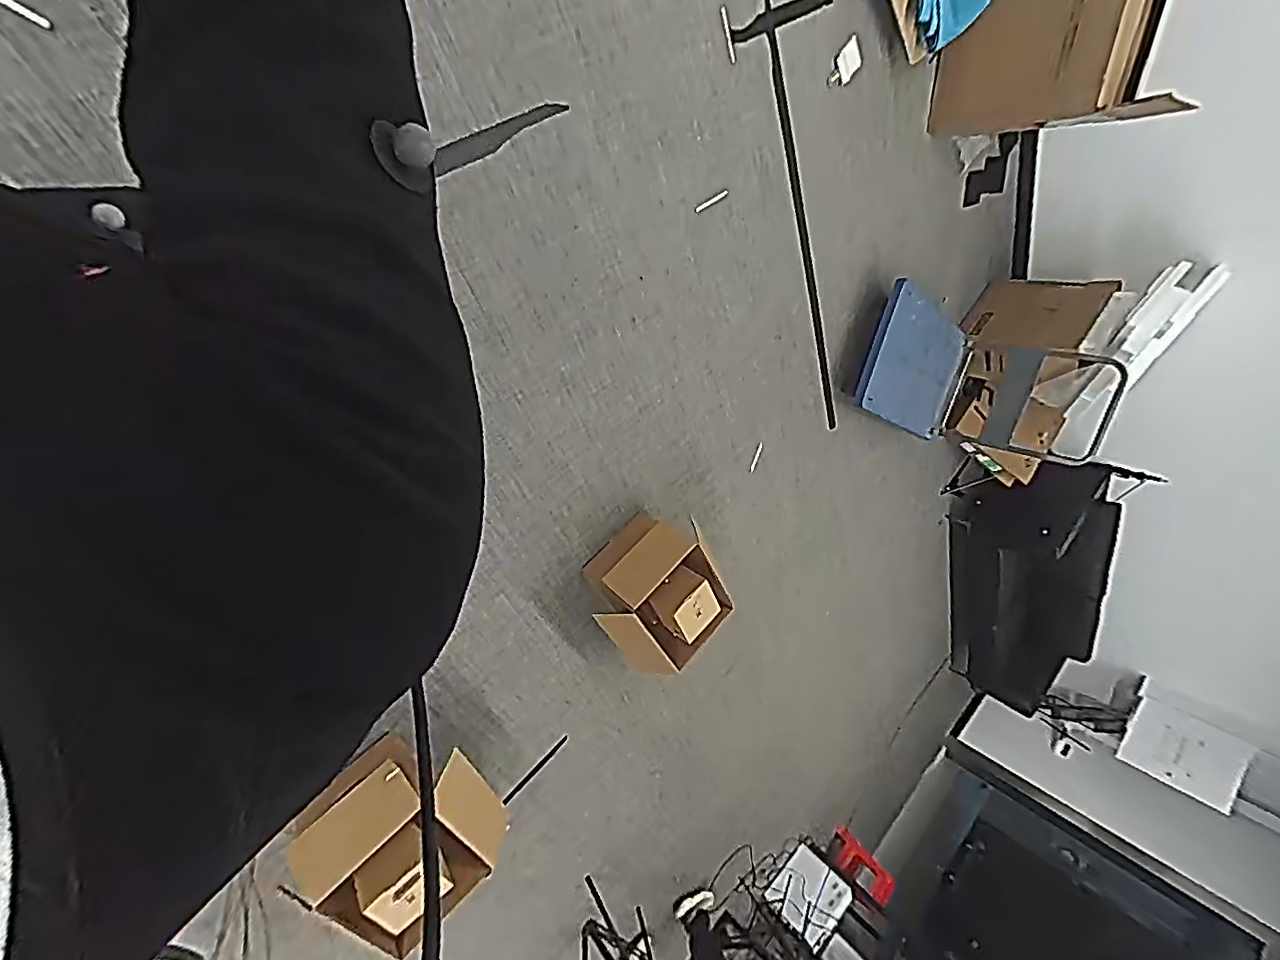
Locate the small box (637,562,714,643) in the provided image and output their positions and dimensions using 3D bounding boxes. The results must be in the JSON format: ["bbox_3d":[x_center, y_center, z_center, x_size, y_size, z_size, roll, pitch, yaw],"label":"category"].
[{"bbox_3d":[0.120,0.410,1.836,0.168,0.176,0.179,-42,129,-21],"label":"small box"}]

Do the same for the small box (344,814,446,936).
[{"bbox_3d":[-0.643,1.021,1.413,0.168,0.176,0.179,-32,128,-24],"label":"small box"}]
